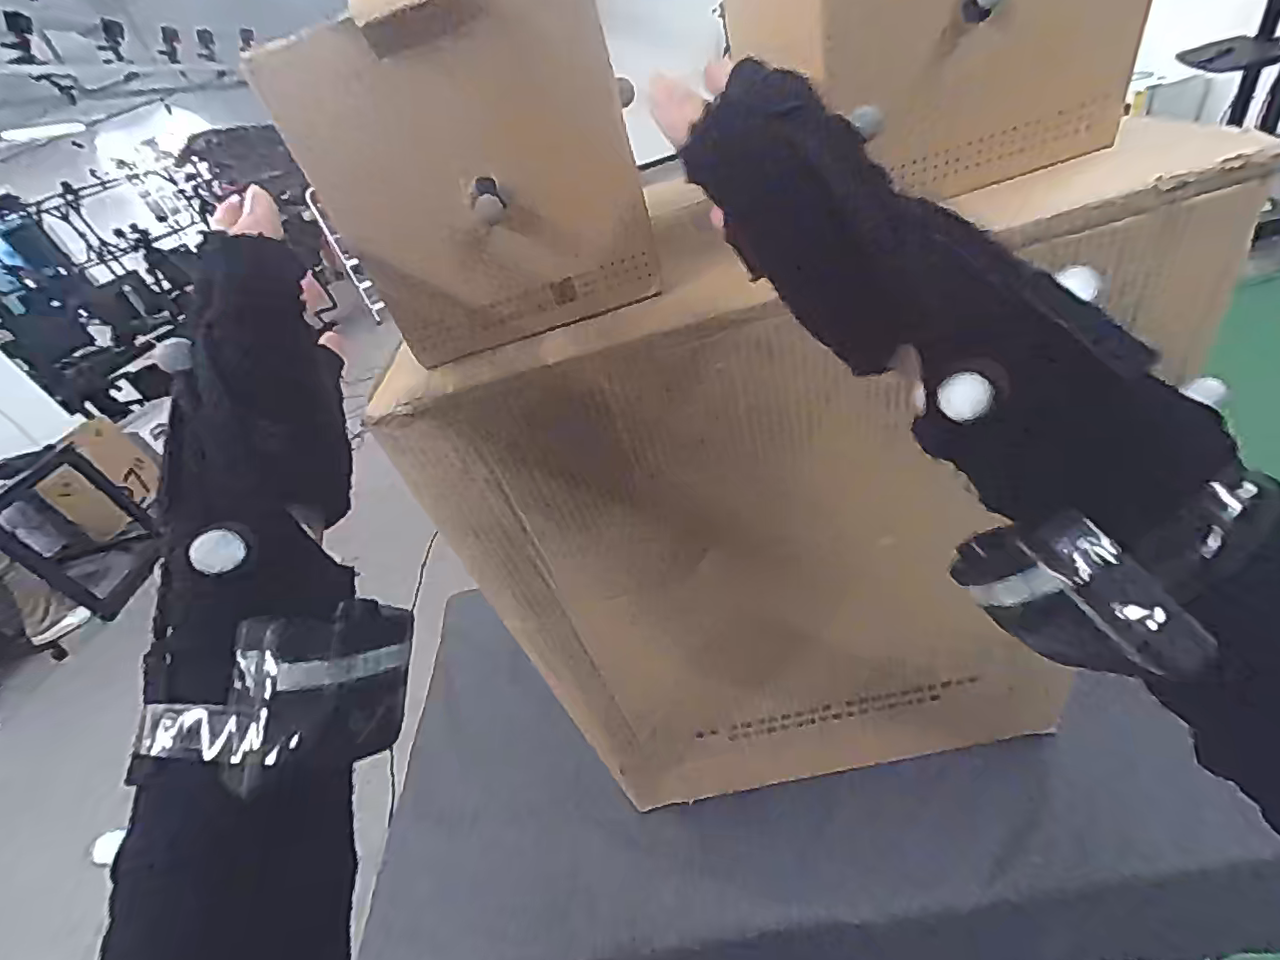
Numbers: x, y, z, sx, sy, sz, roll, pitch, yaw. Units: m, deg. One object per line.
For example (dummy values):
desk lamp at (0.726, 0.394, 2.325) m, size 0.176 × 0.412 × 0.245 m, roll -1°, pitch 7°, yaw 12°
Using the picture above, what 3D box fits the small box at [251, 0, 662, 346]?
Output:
small box at (-0.091, -0.206, 0.355) m, size 0.168 × 0.176 × 0.179 m, roll -16°, pitch 40°, yaw 4°

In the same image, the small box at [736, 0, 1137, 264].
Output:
small box at (0.169, -0.266, 0.348) m, size 0.179 × 0.176 × 0.168 m, roll -17°, pitch 39°, yaw 3°
